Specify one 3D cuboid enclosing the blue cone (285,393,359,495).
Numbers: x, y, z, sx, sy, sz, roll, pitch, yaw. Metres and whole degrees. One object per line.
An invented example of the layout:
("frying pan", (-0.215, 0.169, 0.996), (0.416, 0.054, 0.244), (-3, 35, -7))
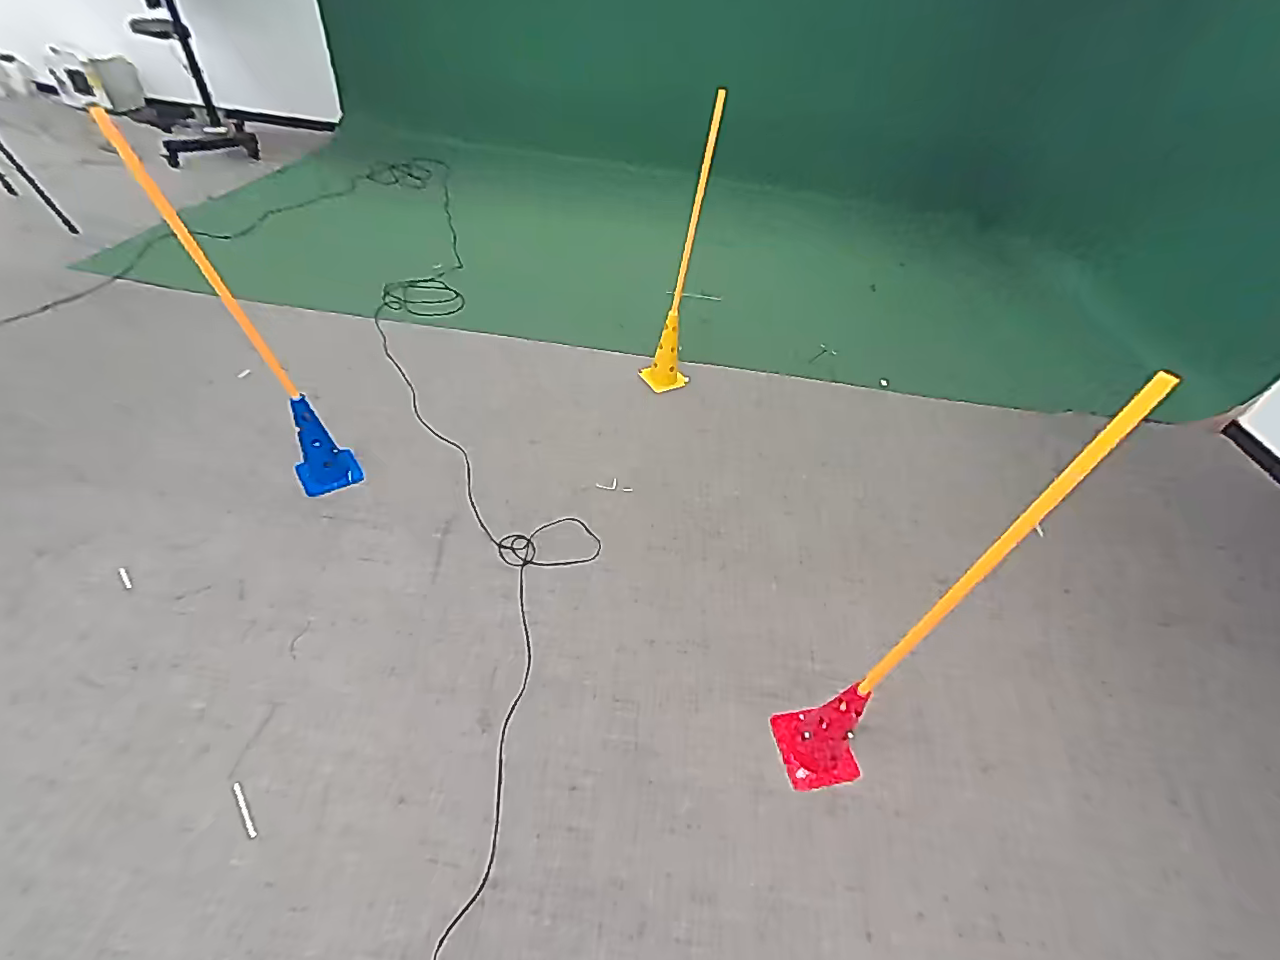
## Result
("blue cone", (-1.148, -0.141, 1.892), (0.193, 0.380, 0.192), (-28, 55, -28))
